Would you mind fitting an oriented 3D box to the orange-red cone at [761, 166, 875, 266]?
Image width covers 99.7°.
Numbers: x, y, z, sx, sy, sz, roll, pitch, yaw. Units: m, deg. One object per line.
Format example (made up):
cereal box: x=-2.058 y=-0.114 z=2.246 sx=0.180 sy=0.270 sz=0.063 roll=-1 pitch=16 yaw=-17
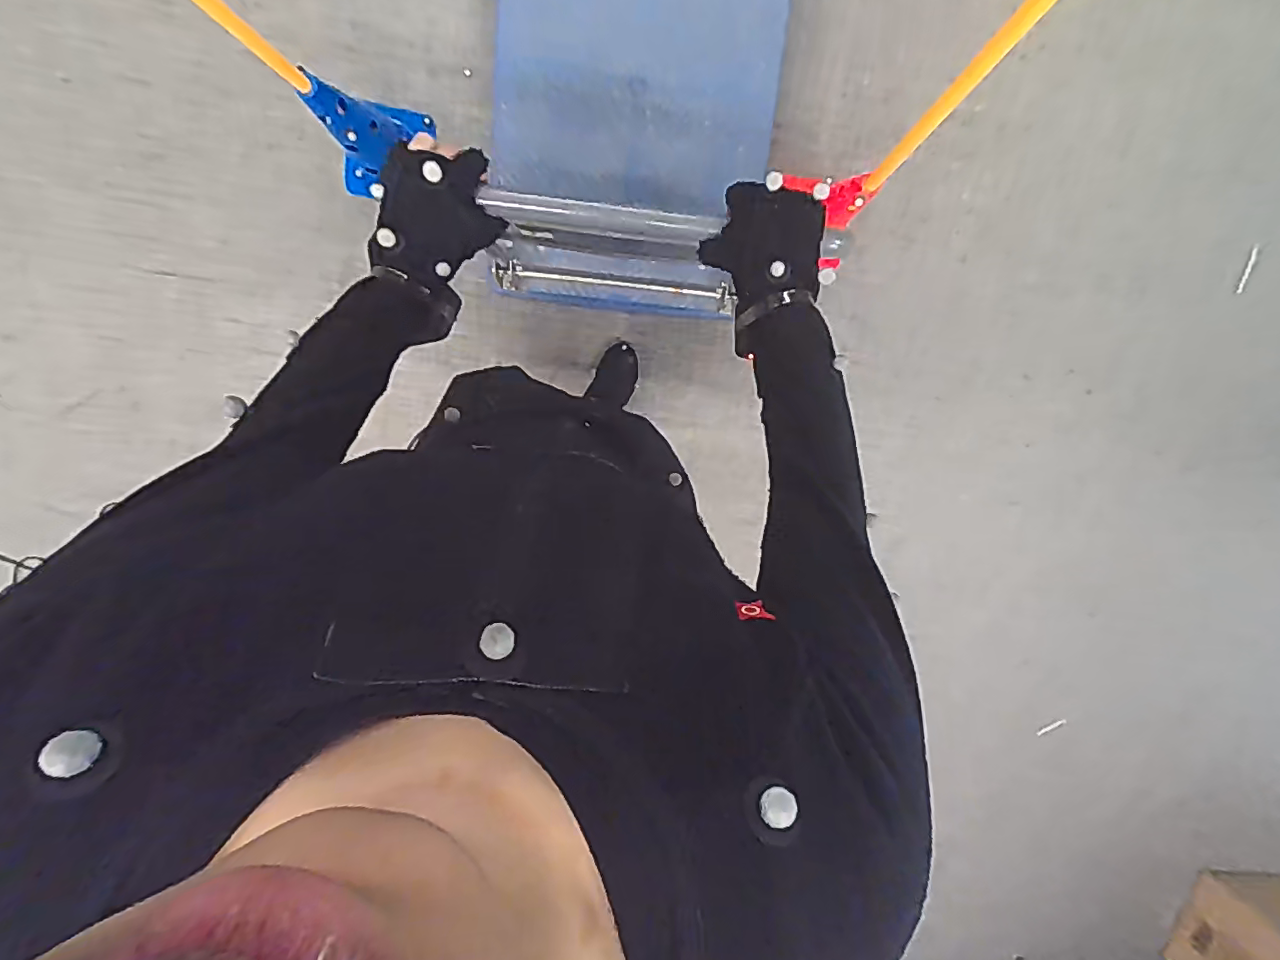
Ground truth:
orange-red cone: x=0.415 y=-0.607 z=1.179 sx=0.199 sy=0.360 sz=0.198 roll=8 pitch=103 yaw=-3
